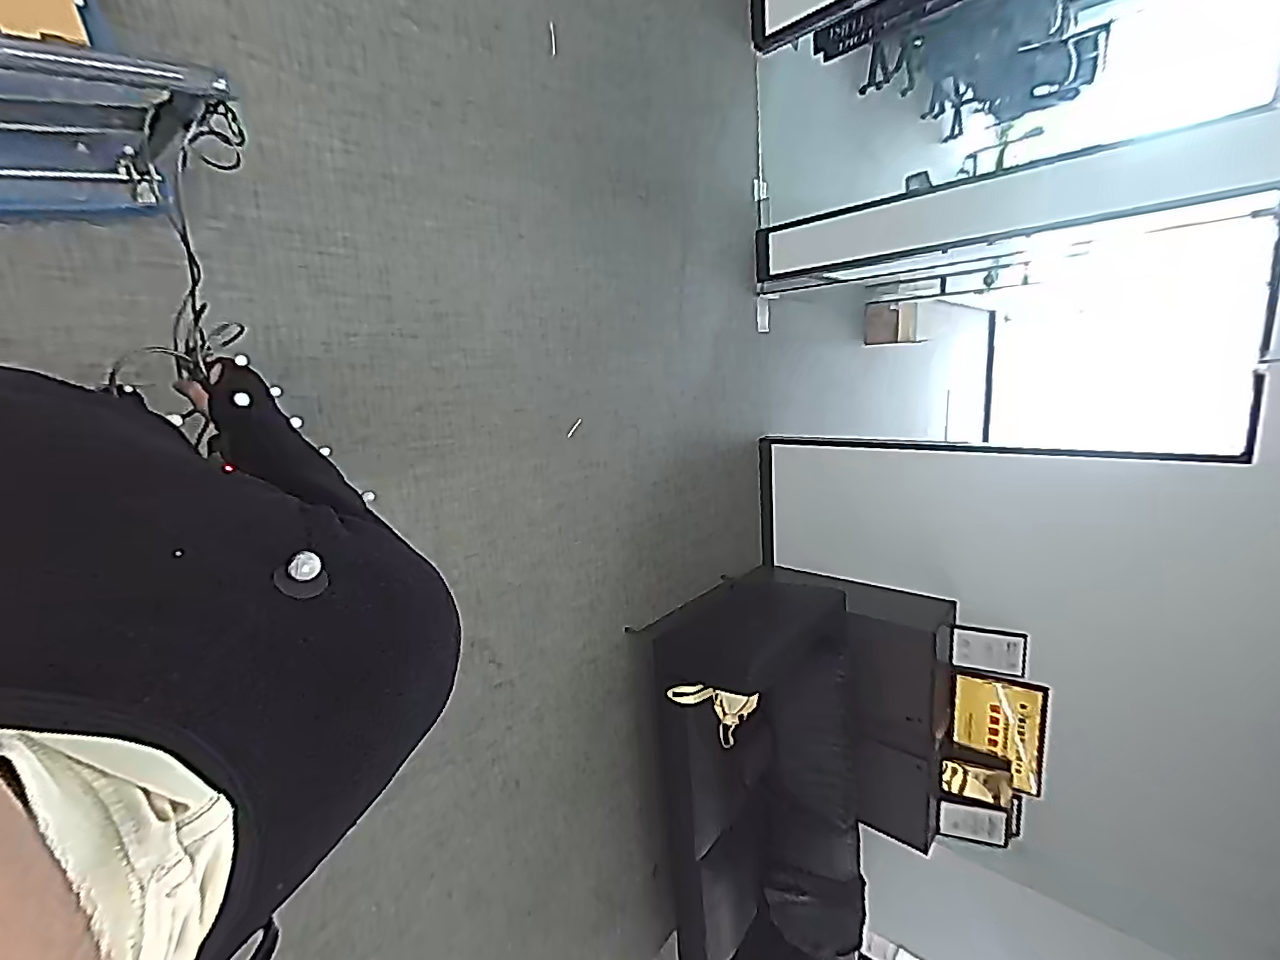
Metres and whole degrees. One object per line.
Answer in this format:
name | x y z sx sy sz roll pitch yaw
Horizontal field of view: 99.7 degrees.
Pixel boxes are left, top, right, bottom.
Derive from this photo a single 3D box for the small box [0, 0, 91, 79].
small box | -1.035 -0.791 0.868 0.168 0.176 0.179 -26 115 -44
